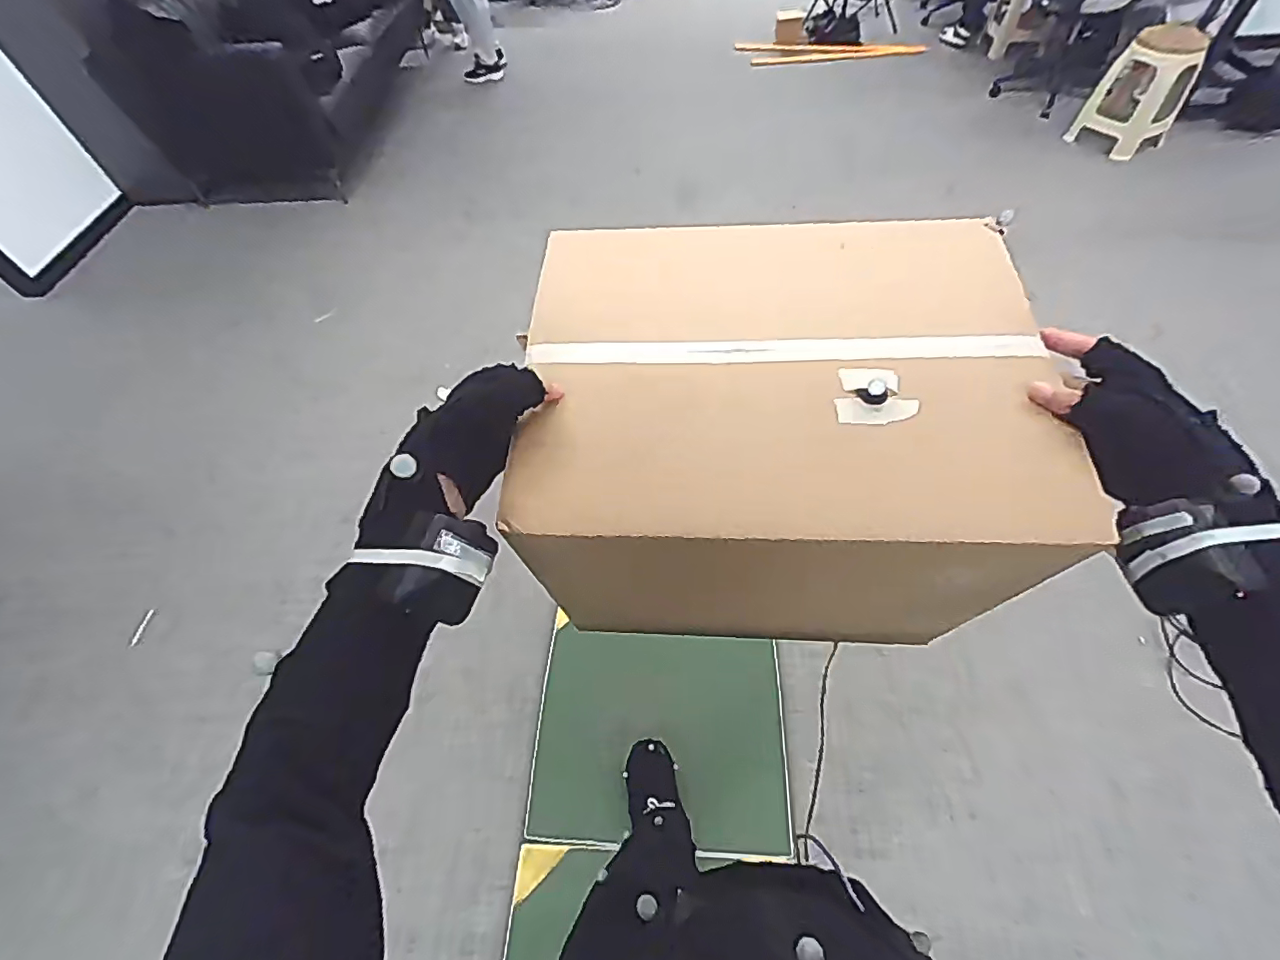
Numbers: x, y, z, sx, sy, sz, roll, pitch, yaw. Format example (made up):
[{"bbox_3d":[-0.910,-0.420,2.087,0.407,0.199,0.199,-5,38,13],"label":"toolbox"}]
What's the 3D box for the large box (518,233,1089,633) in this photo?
[{"bbox_3d":[0.119,-0.026,0.577,0.408,0.320,0.320,0,62,4],"label":"large box"}]
